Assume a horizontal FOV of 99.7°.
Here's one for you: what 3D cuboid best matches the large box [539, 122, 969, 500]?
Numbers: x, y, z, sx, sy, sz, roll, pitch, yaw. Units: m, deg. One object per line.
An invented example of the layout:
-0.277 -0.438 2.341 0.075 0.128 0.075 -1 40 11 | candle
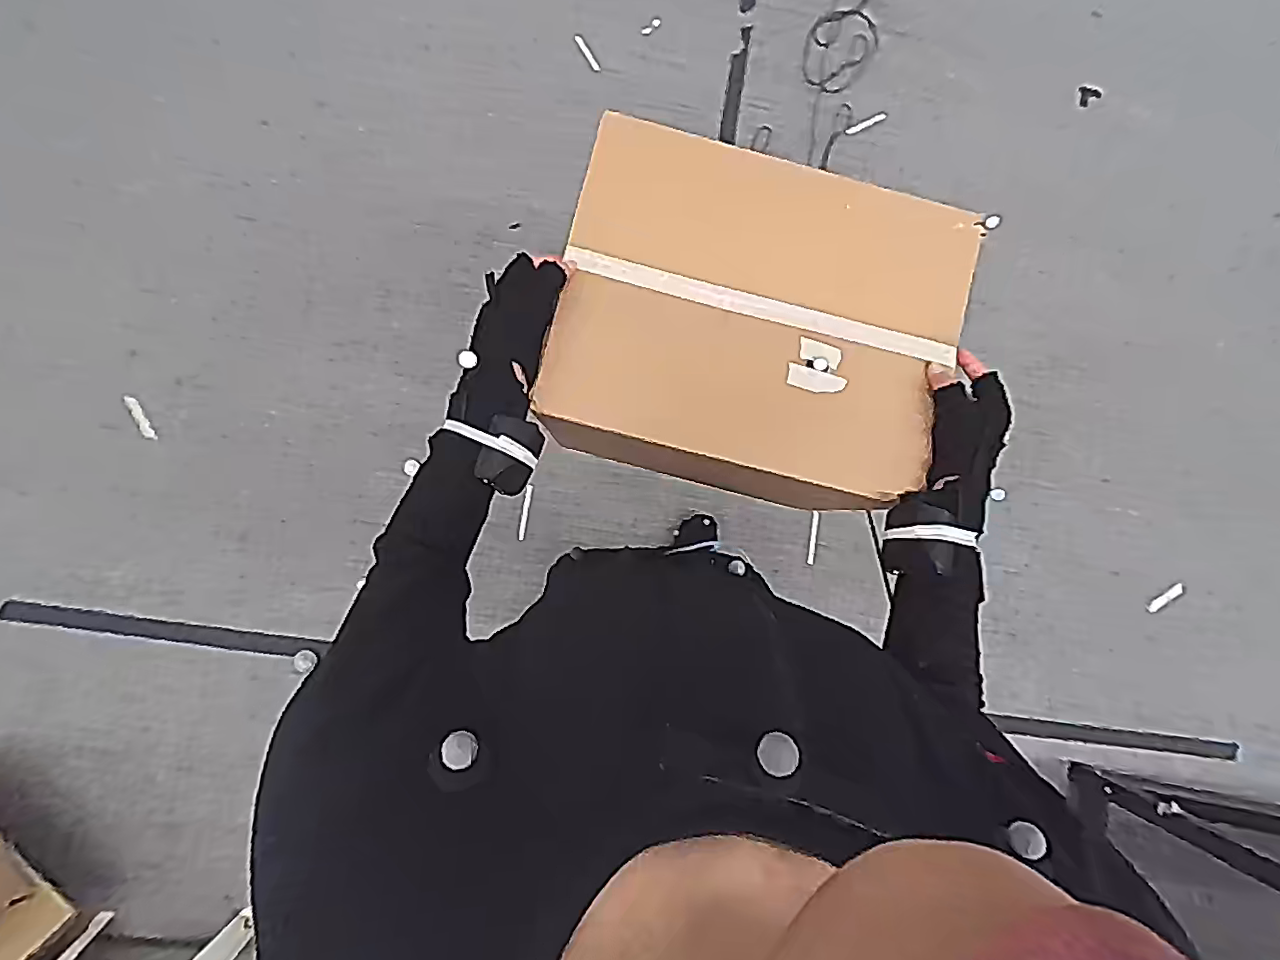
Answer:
0.114 -0.170 0.705 0.408 0.320 0.320 15 87 -3 | large box
